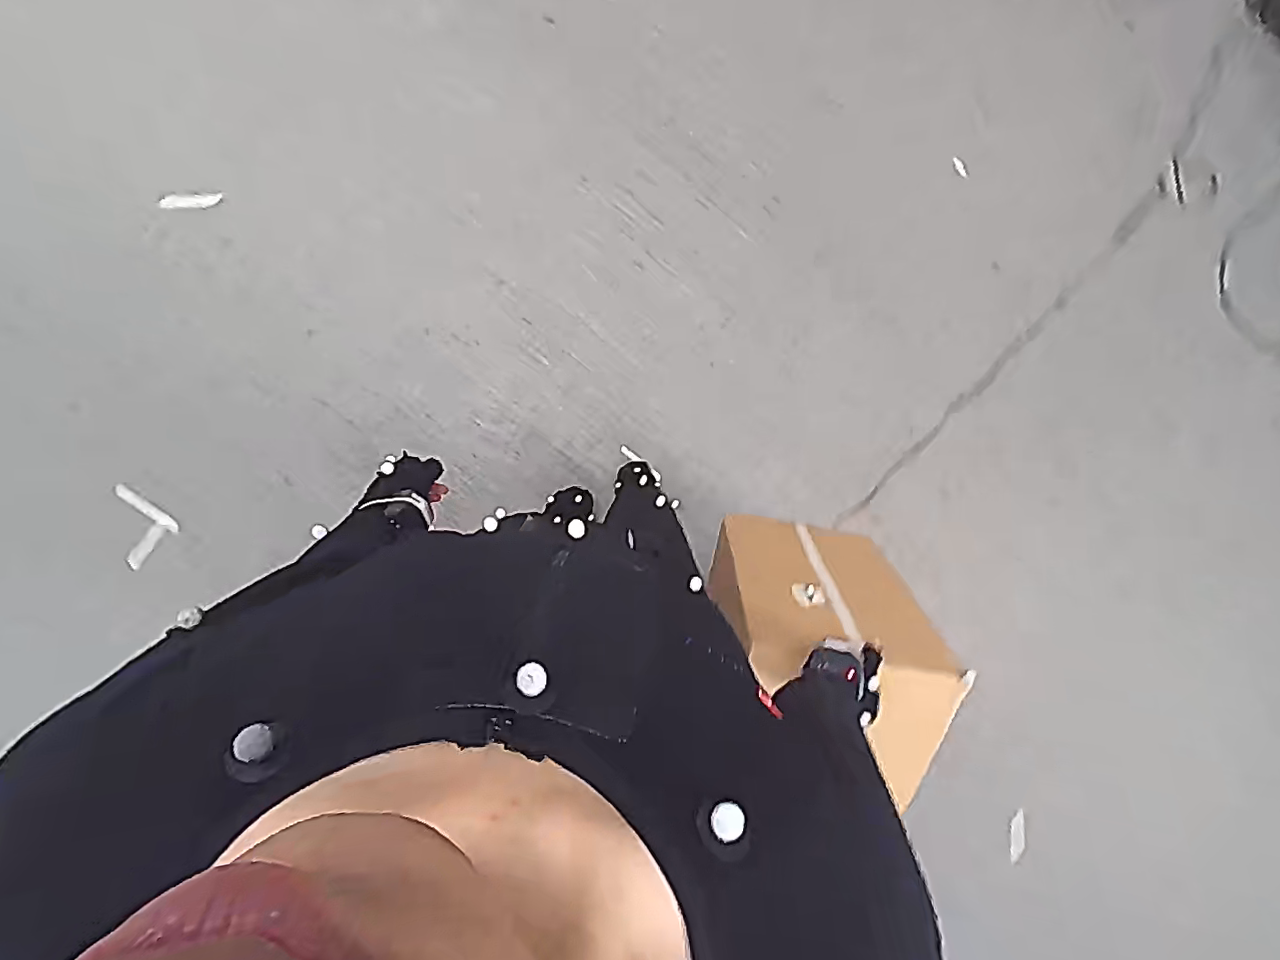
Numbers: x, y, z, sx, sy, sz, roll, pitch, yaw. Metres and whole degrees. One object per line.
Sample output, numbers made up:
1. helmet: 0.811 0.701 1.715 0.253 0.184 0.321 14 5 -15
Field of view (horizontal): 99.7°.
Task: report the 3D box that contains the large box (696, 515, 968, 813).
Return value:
1. large box: 0.296 0.311 1.000 0.320 0.408 0.320 8 114 -2
